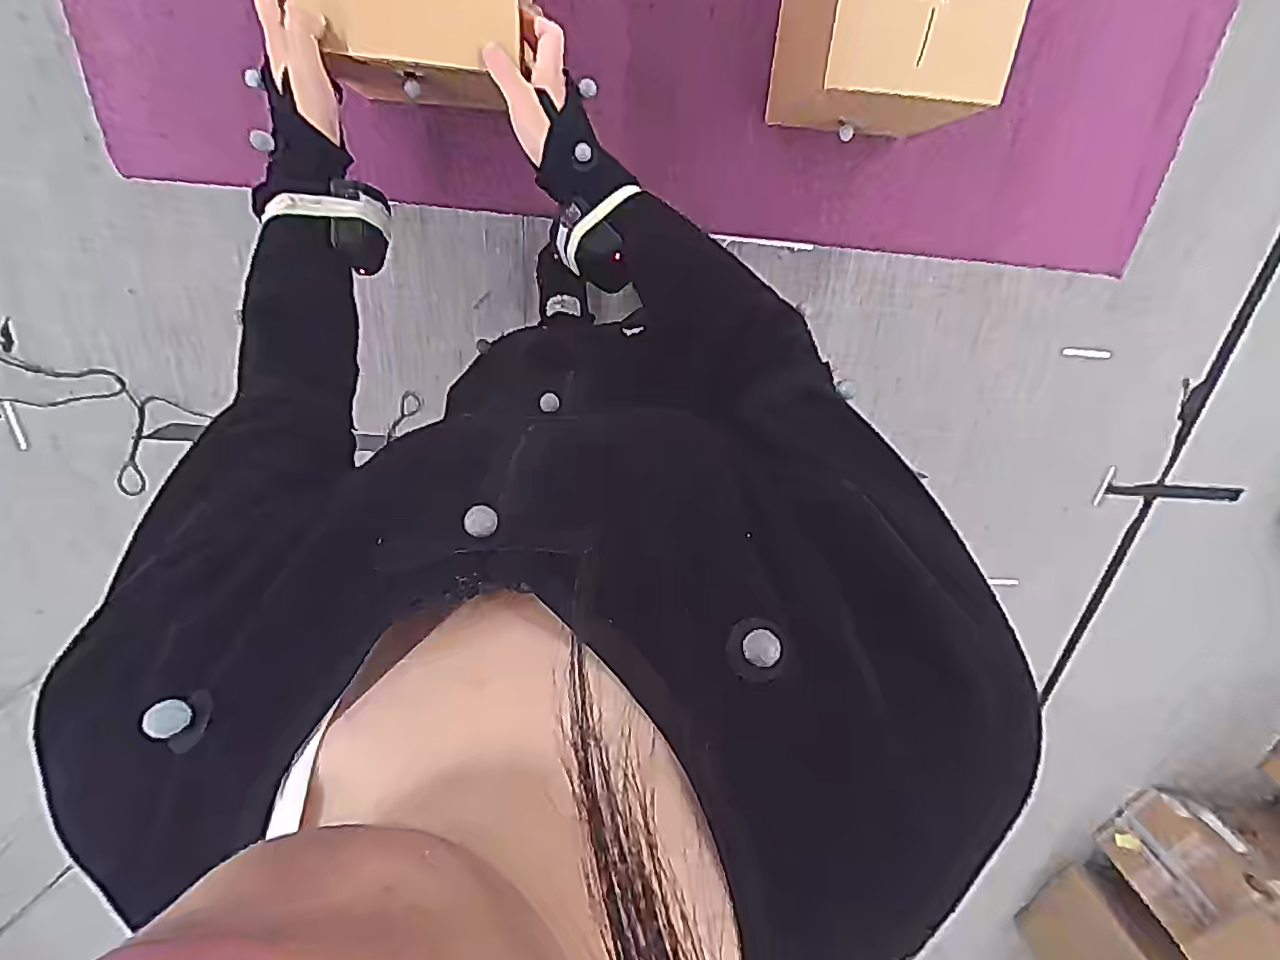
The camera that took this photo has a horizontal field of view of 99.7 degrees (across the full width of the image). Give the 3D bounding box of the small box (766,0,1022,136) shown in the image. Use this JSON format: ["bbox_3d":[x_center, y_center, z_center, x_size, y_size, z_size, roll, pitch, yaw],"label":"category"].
[{"bbox_3d":[0.231,-0.447,0.510,0.168,0.176,0.179,2,115,-6],"label":"small box"}]

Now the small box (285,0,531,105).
[{"bbox_3d":[-0.187,-0.442,0.469,0.179,0.176,0.168,1,116,-6],"label":"small box"}]
